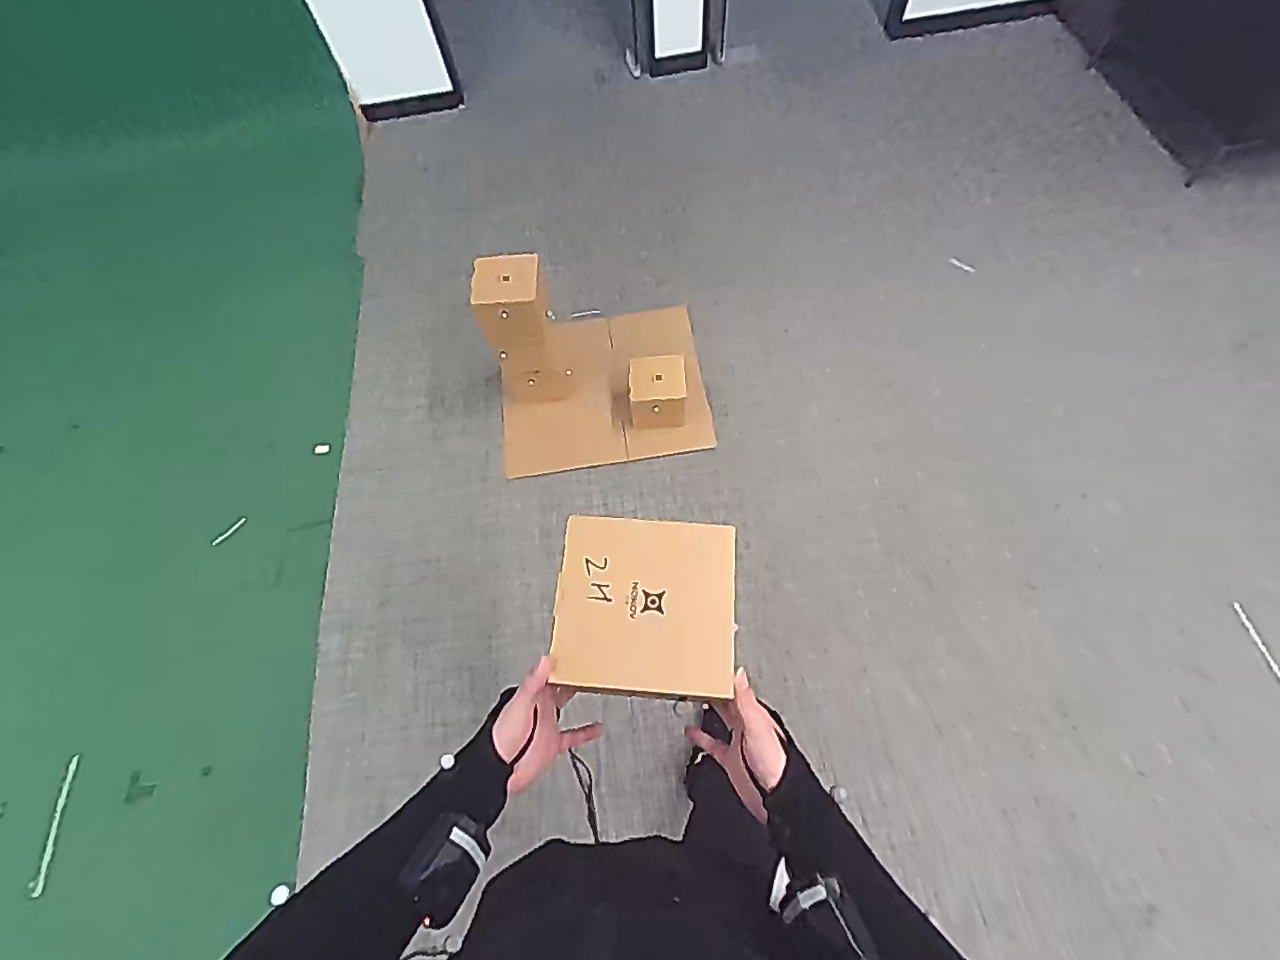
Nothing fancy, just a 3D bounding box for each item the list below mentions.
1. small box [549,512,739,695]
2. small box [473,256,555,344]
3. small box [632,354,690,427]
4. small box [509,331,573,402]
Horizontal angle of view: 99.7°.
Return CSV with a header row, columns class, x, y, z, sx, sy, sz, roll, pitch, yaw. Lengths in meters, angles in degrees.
class,x,y,z,sx,sy,sz,roll,pitch,yaw
small box,0.011,0.145,0.603,0.179,0.176,0.168,3,67,5
small box,-0.347,-0.500,1.518,0.179,0.176,0.168,-3,66,3
small box,0.070,-0.284,1.746,0.179,0.176,0.168,-4,65,4
small box,-0.328,-0.377,1.822,0.179,0.176,0.168,-5,65,2
